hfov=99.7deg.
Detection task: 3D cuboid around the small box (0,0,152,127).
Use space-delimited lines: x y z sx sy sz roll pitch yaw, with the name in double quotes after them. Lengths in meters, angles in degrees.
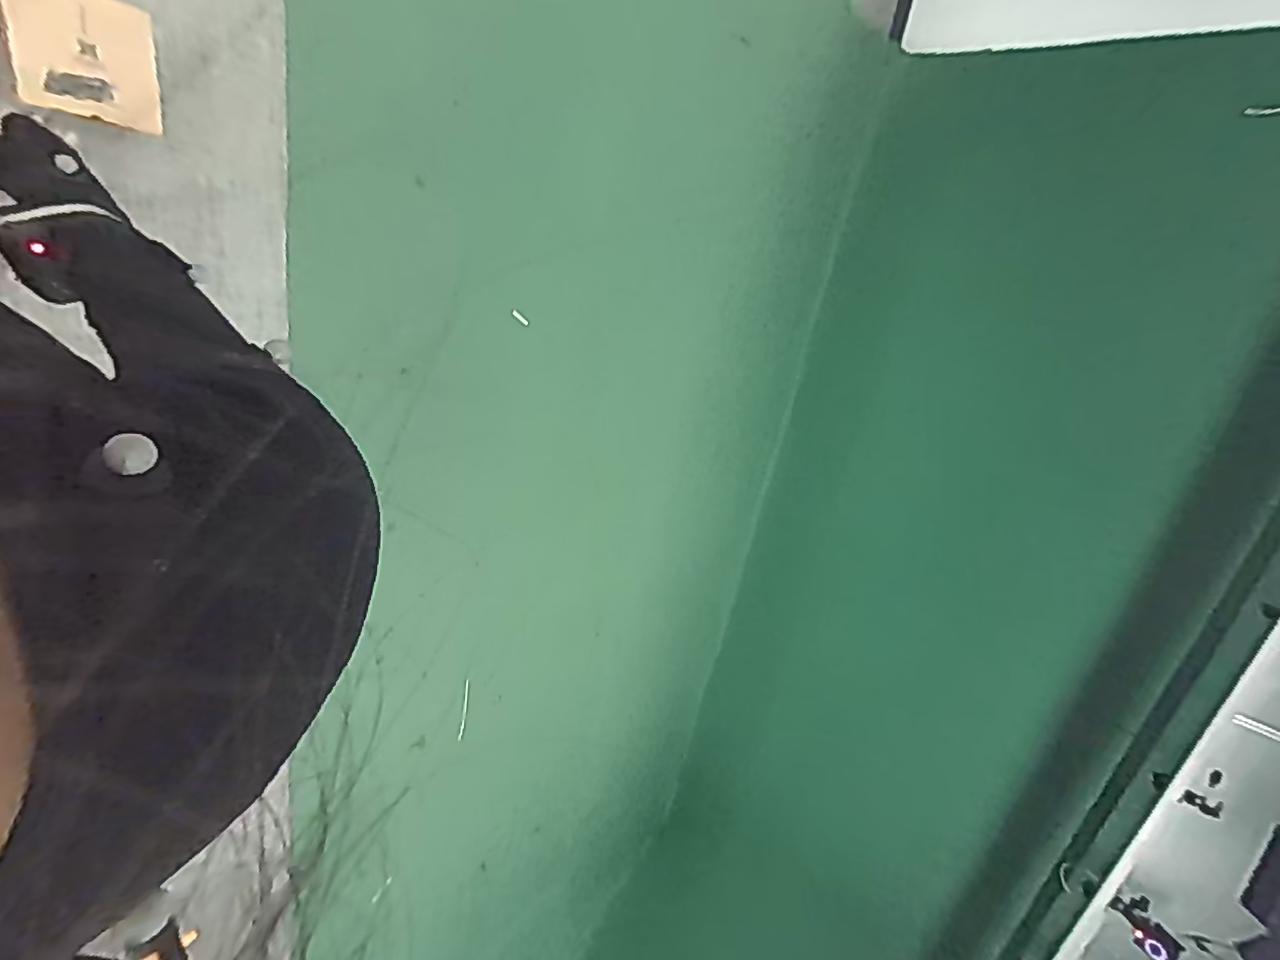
-0.906 -0.685 0.854 0.168 0.176 0.179 -14 122 -51 "small box"
